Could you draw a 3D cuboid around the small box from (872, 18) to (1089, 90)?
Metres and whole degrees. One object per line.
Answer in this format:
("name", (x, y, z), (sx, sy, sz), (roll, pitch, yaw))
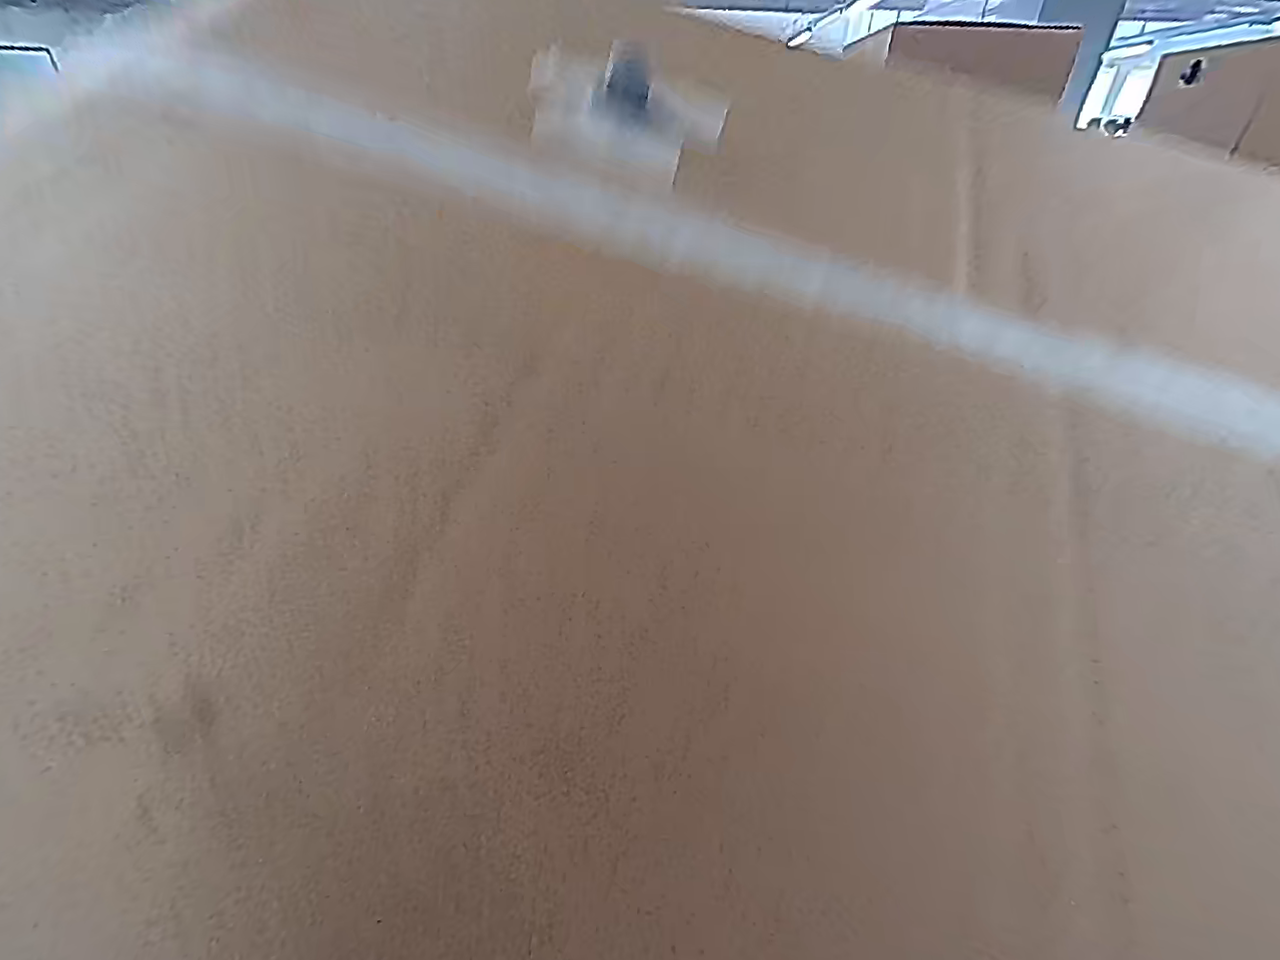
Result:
("small box", (0.322, -0.386, 0.598), (0.179, 0.176, 0.168), (3, 32, 2))

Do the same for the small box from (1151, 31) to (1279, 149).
("small box", (0.677, -0.368, 0.586), (0.179, 0.176, 0.168), (4, 32, 3))
